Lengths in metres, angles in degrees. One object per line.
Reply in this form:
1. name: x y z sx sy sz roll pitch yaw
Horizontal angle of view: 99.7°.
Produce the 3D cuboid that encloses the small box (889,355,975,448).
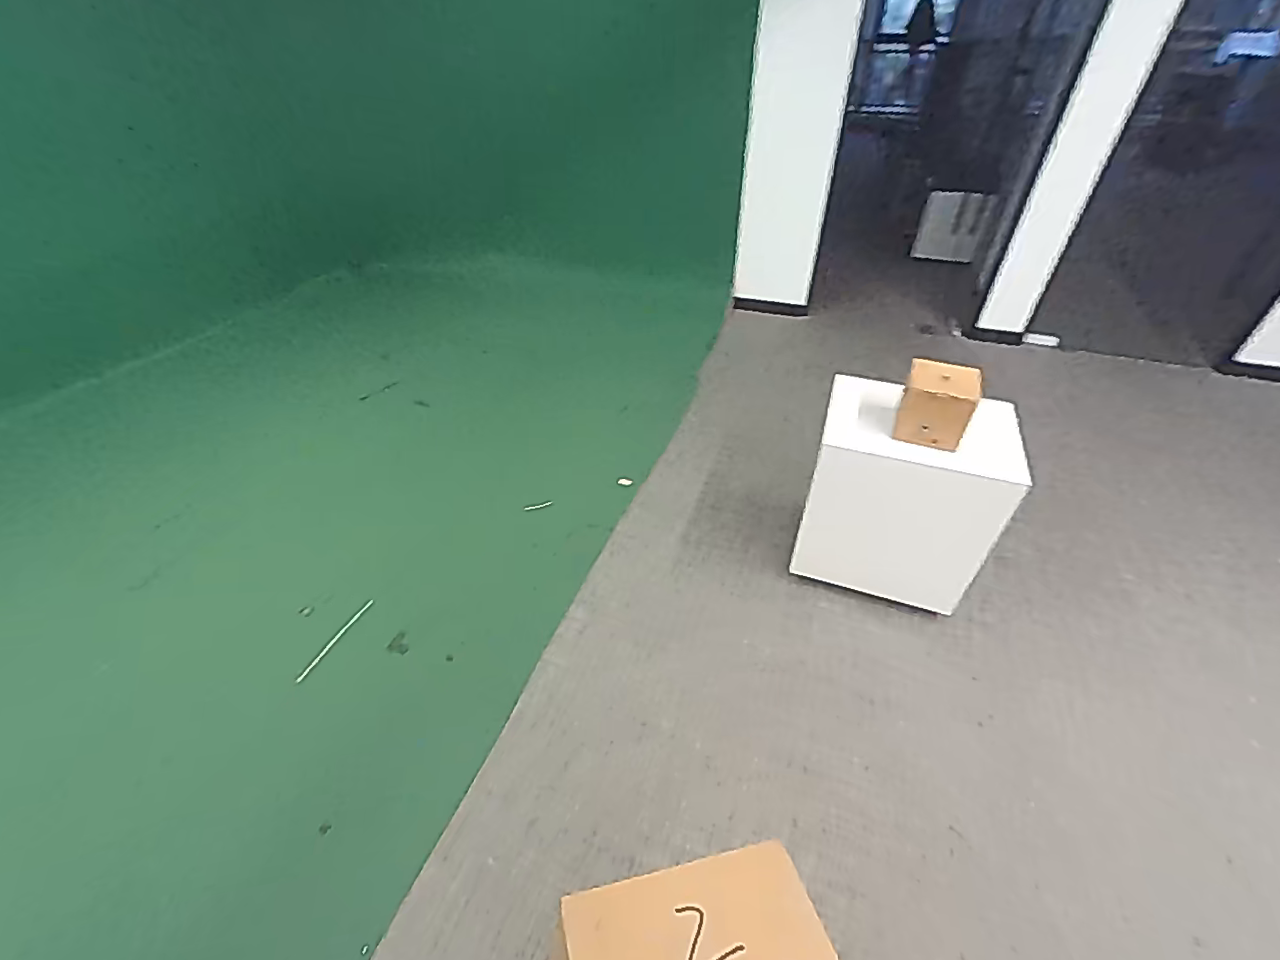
1. small box: 0.795 -0.215 1.480 0.168 0.176 0.179 15 44 18
